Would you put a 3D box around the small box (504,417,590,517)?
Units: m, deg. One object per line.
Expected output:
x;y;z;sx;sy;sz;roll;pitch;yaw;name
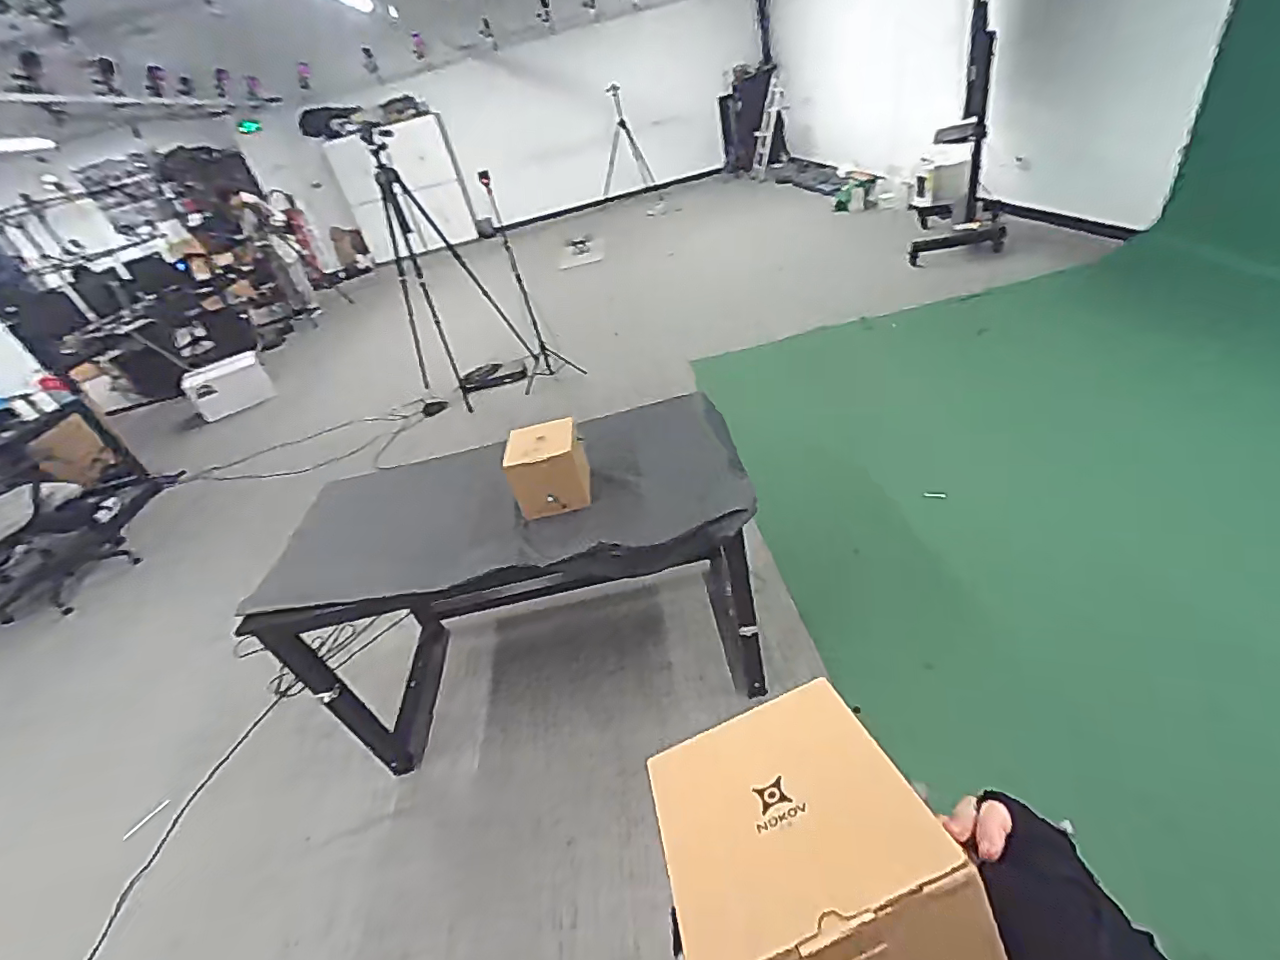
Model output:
-0.225;-0.033;1.358;0.168;0.176;0.179;-12;35;3;small box

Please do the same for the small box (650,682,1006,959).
0.125;0.291;0.387;0.168;0.176;0.179;-25;16;-3;small box
